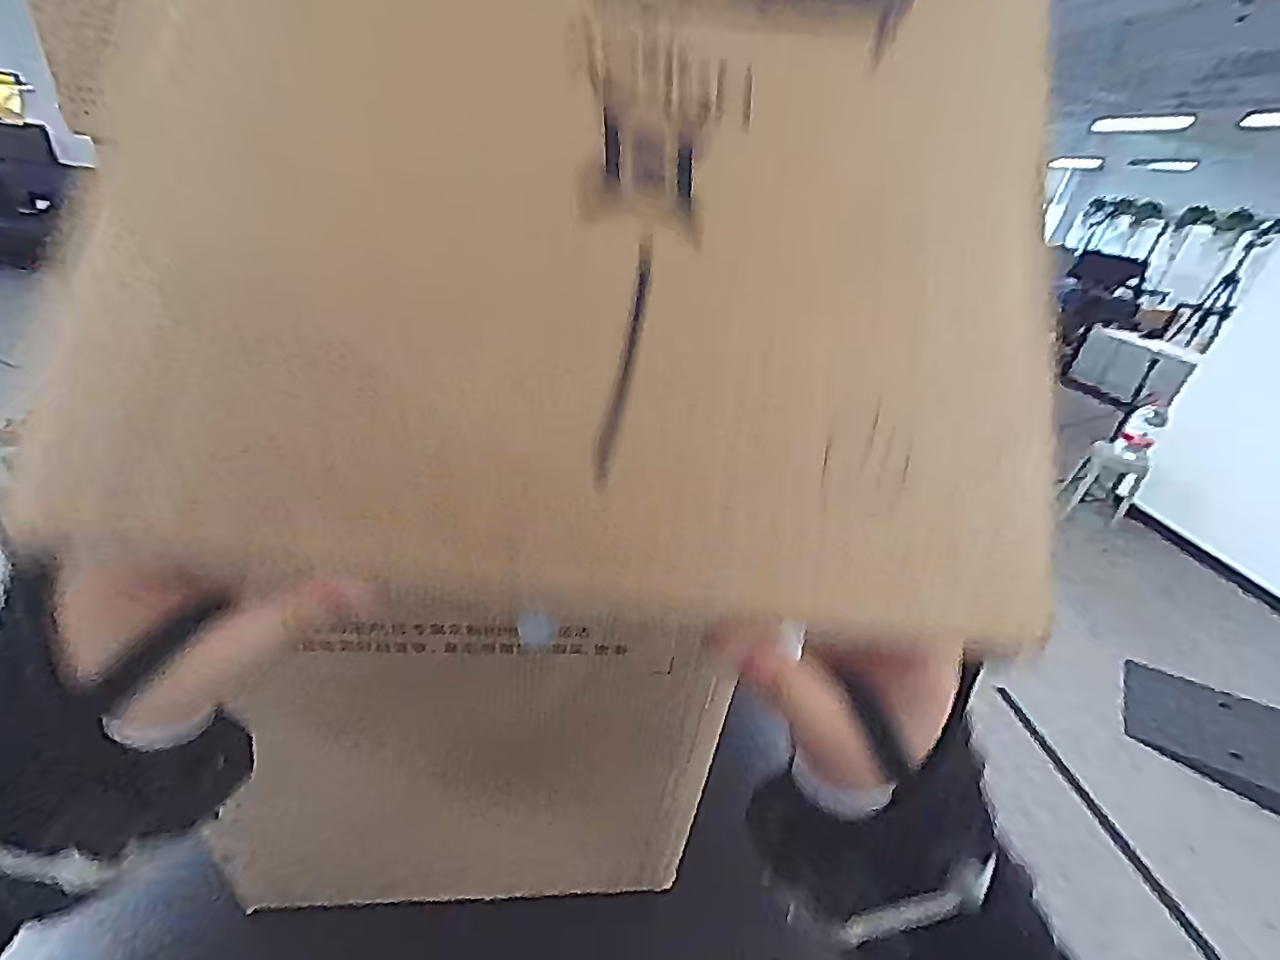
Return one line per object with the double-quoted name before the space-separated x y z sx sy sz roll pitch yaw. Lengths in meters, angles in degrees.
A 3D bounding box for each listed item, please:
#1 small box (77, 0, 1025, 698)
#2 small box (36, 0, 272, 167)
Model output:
"small box" -0.011 -0.036 0.189 0.168 0.179 0.176 9 -13 -9
"small box" -0.300 -0.331 0.409 0.168 0.176 0.179 2 30 -11
